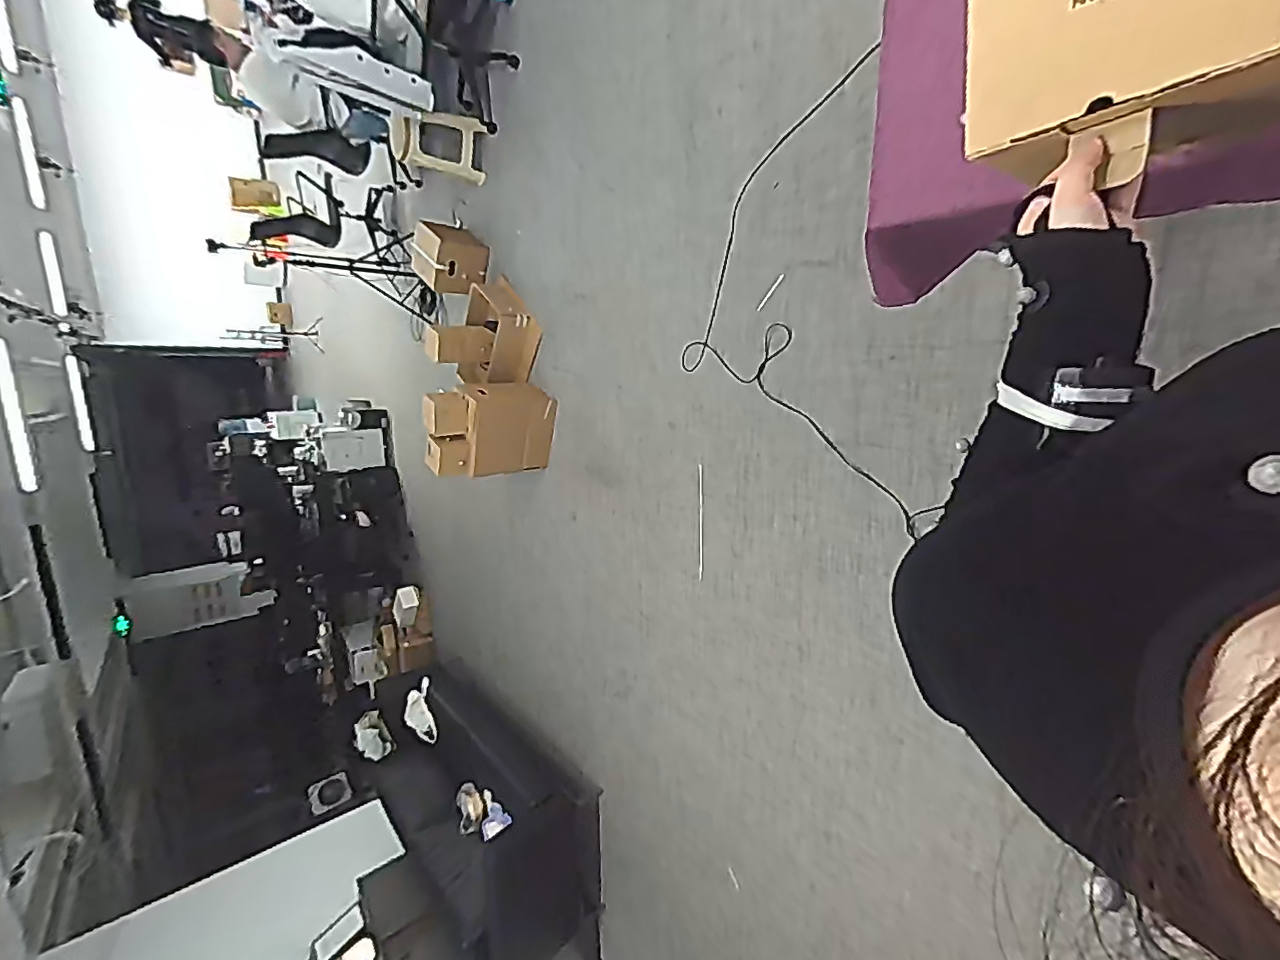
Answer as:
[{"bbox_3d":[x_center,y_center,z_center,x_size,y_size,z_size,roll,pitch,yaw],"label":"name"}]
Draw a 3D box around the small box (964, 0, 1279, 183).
[{"bbox_3d":[0.370,-0.352,0.409,0.168,0.176,0.179,8,108,51],"label":"small box"}]
